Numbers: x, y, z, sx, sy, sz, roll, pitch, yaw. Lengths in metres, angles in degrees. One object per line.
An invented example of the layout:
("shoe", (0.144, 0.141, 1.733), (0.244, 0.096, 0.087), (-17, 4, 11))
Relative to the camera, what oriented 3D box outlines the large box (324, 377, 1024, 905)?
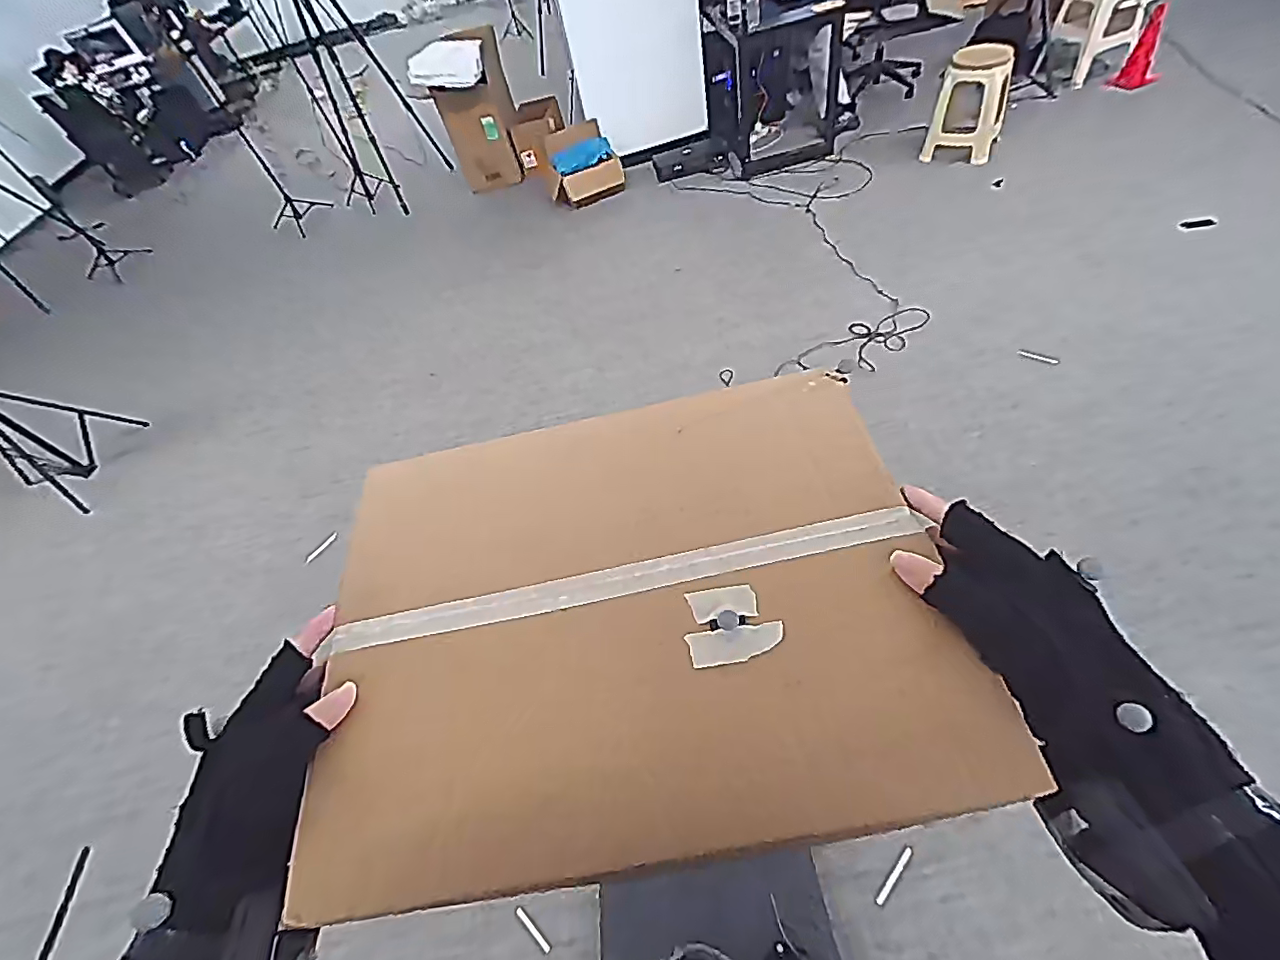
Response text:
("large box", (0.015, 0.159, 0.501), (0.408, 0.320, 0.320), (-12, 54, 2))
